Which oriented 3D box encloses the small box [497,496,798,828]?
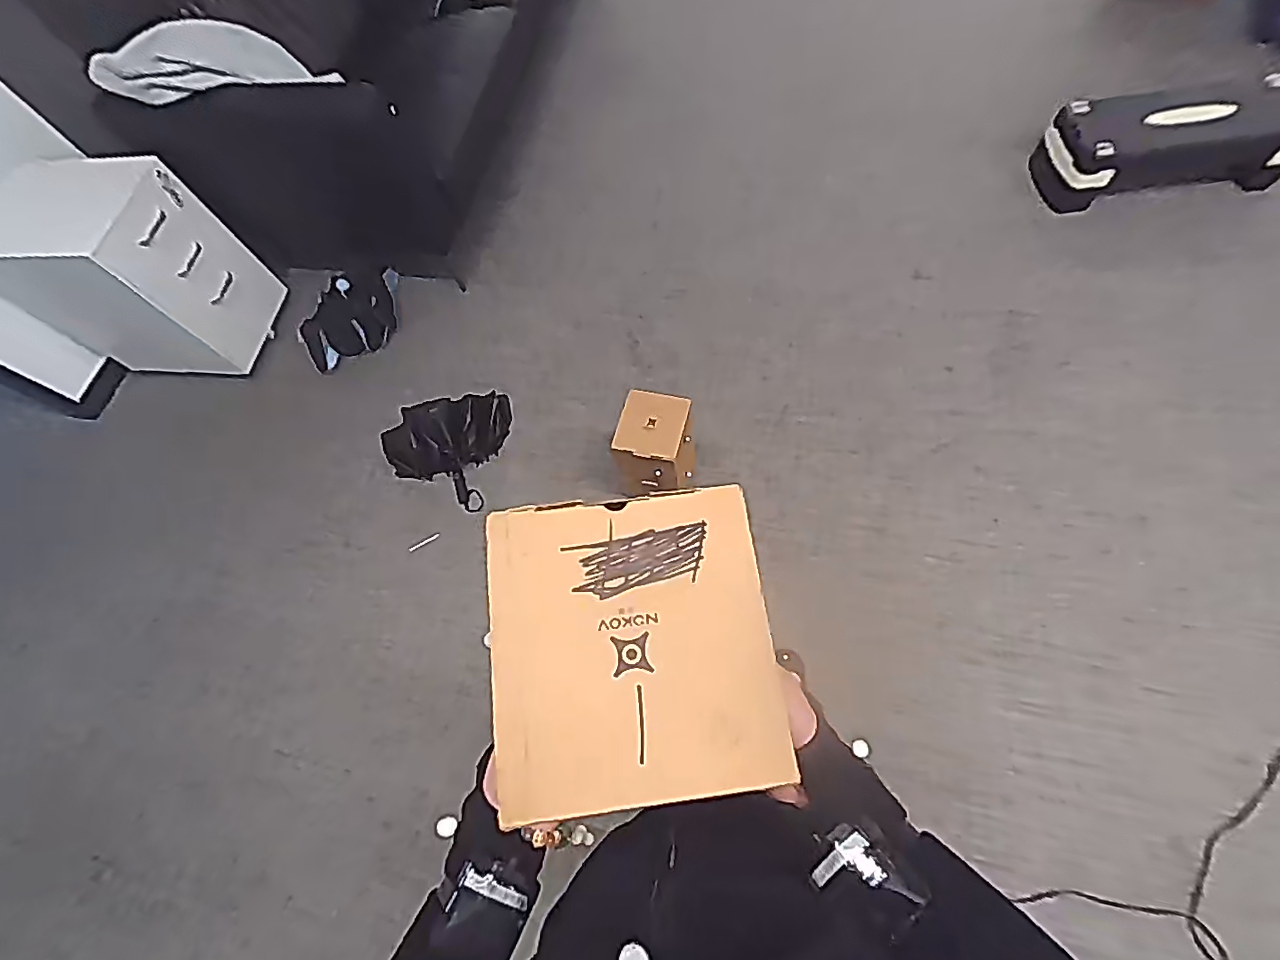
[{"bbox_3d":[-0.004,0.125,0.398,0.168,0.176,0.179,-6,72,-3],"label":"small box"}]
